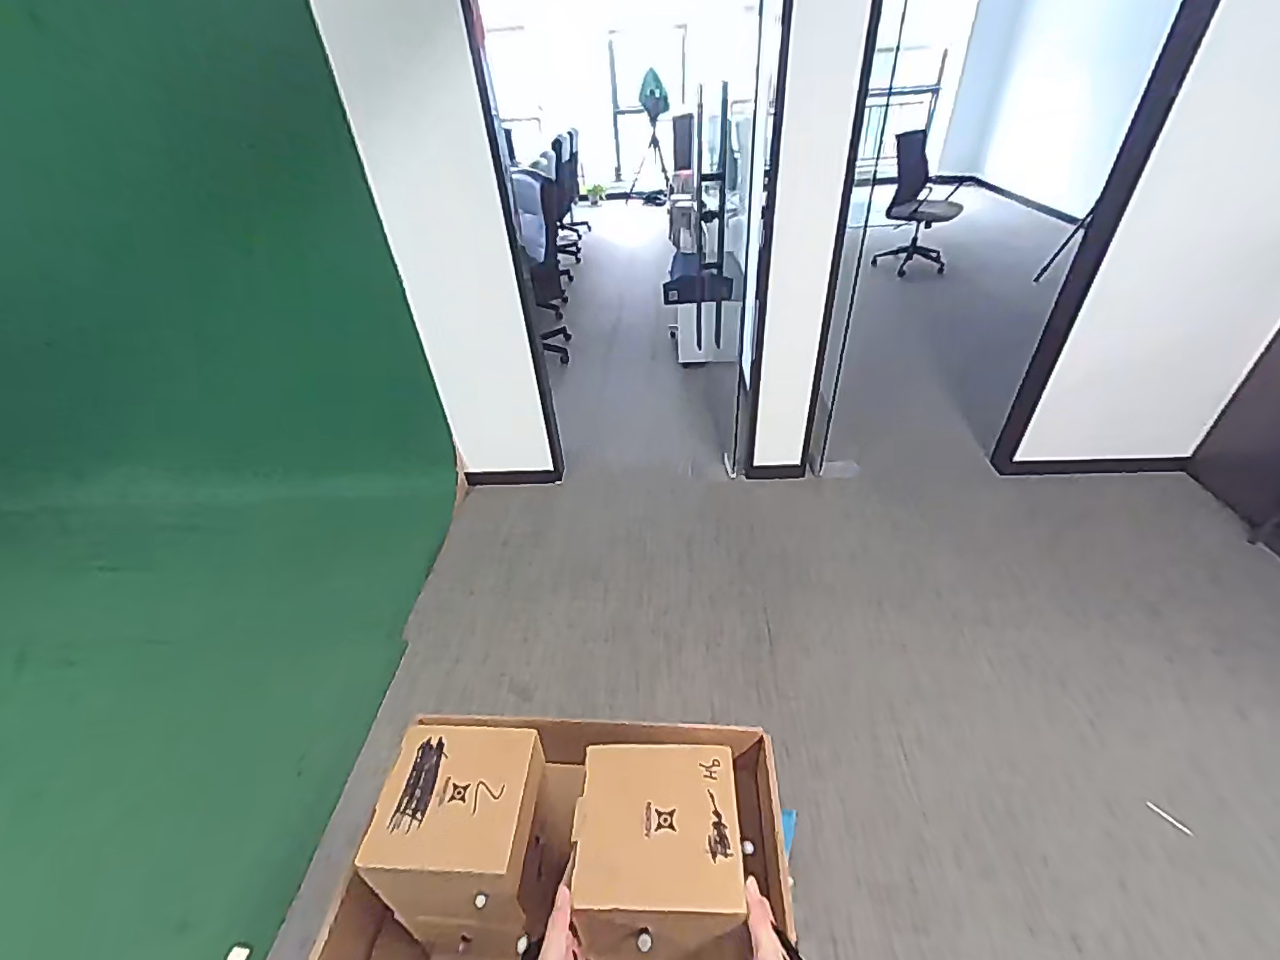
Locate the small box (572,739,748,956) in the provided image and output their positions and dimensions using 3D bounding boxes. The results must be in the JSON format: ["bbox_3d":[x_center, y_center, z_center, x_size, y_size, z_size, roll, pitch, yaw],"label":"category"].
[{"bbox_3d":[0.030,0.426,0.631,0.179,0.176,0.168,-2,36,5],"label":"small box"}]
